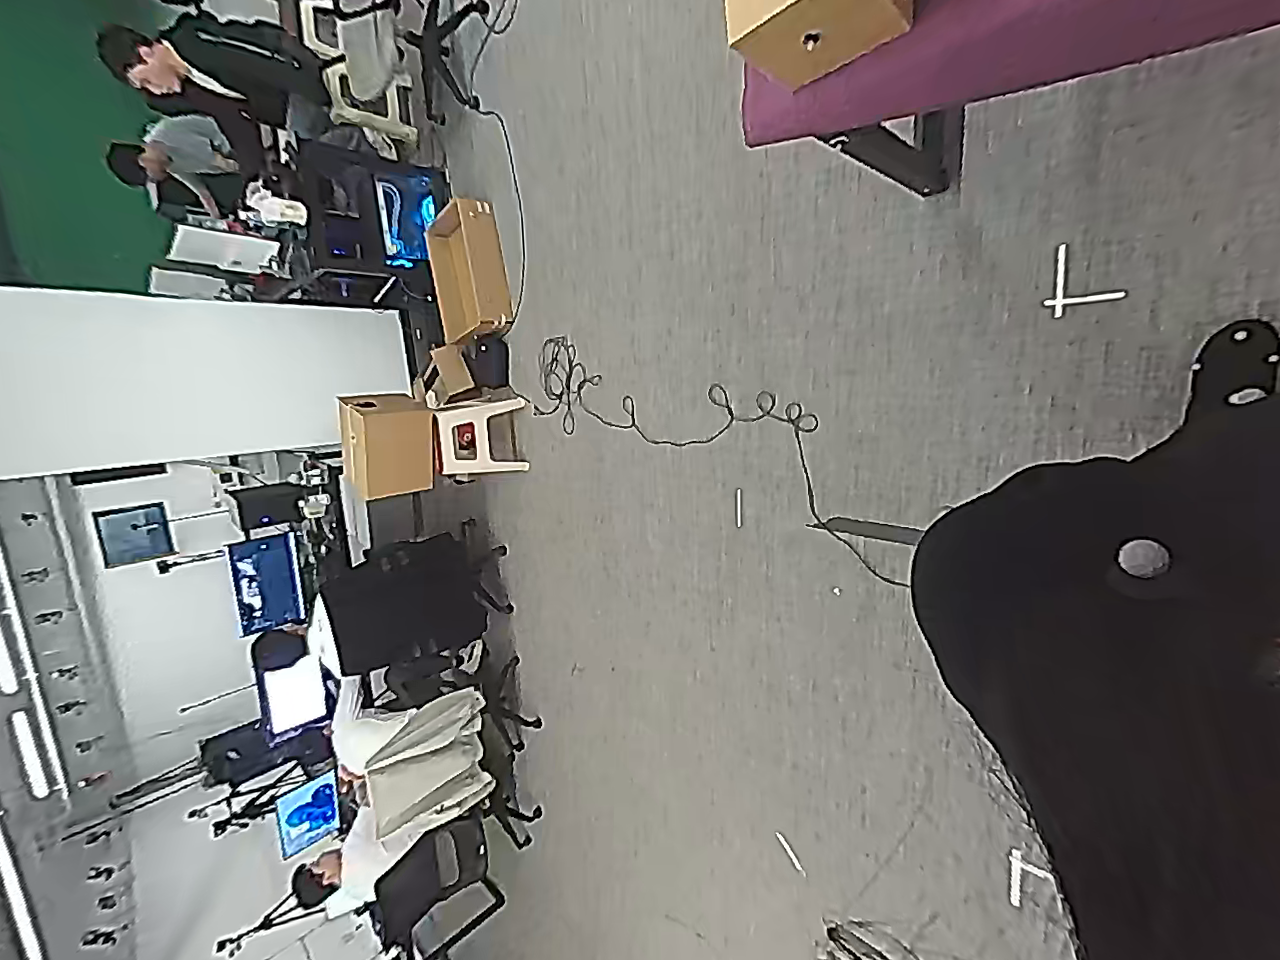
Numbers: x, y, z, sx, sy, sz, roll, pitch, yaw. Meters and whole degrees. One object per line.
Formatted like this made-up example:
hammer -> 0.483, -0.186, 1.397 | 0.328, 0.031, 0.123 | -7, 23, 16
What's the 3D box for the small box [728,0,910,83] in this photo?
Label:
small box -> 0.226, -0.647, 0.675 | 0.179, 0.176, 0.168 | 1, 99, 45
